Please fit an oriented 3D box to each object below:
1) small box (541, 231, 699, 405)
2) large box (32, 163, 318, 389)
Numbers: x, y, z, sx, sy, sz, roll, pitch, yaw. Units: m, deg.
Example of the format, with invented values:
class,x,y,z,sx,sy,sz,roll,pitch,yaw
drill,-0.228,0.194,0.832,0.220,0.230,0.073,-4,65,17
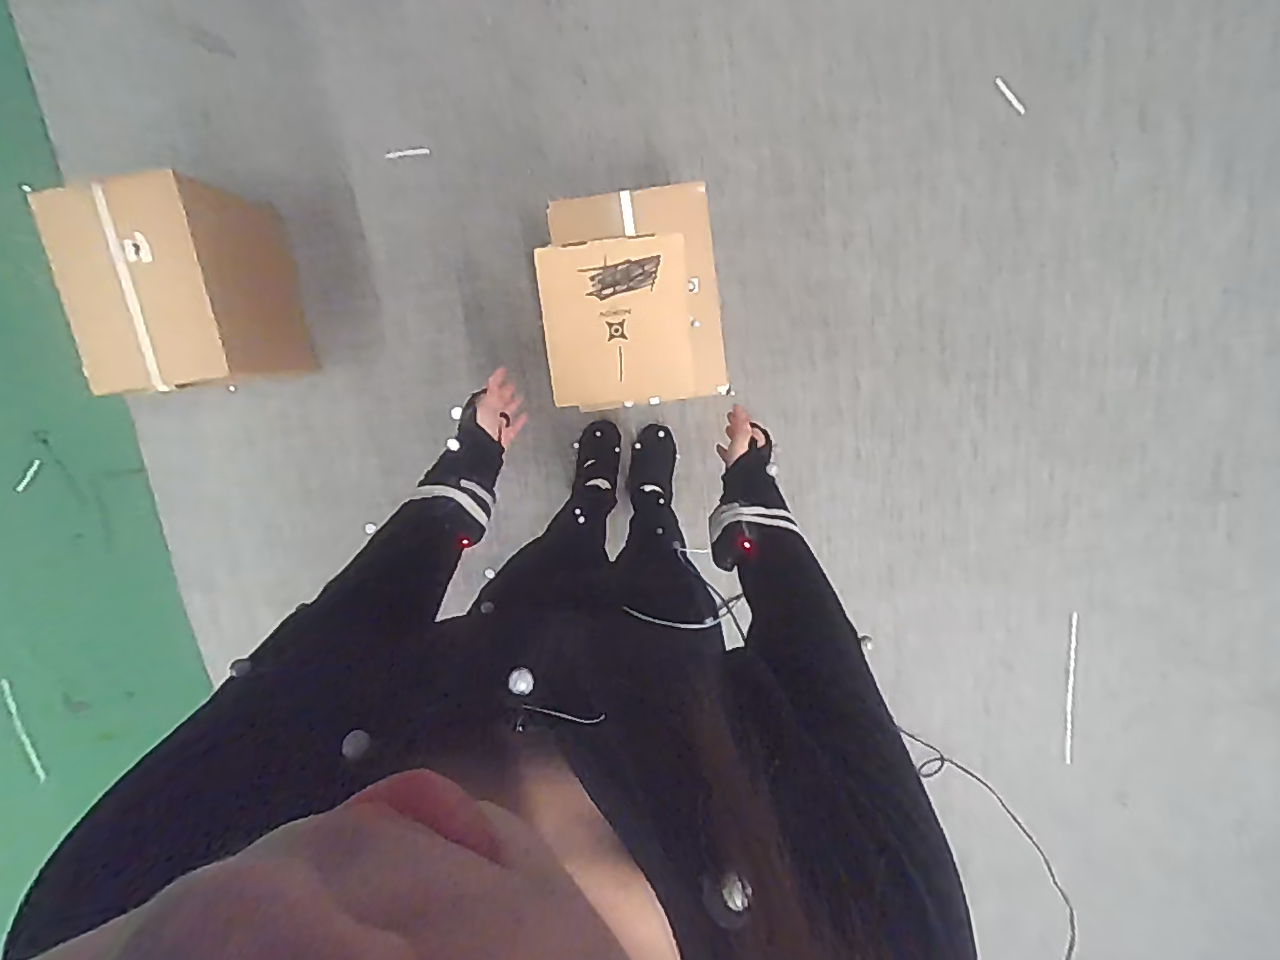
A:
class,x,y,z,sx,sy,sz,roll,pitch,yaw
small box,-0.018,-0.195,0.677,0.168,0.176,0.179,-5,104,4
large box,-1.019,-0.433,1.240,0.320,0.320,0.408,-7,101,4
